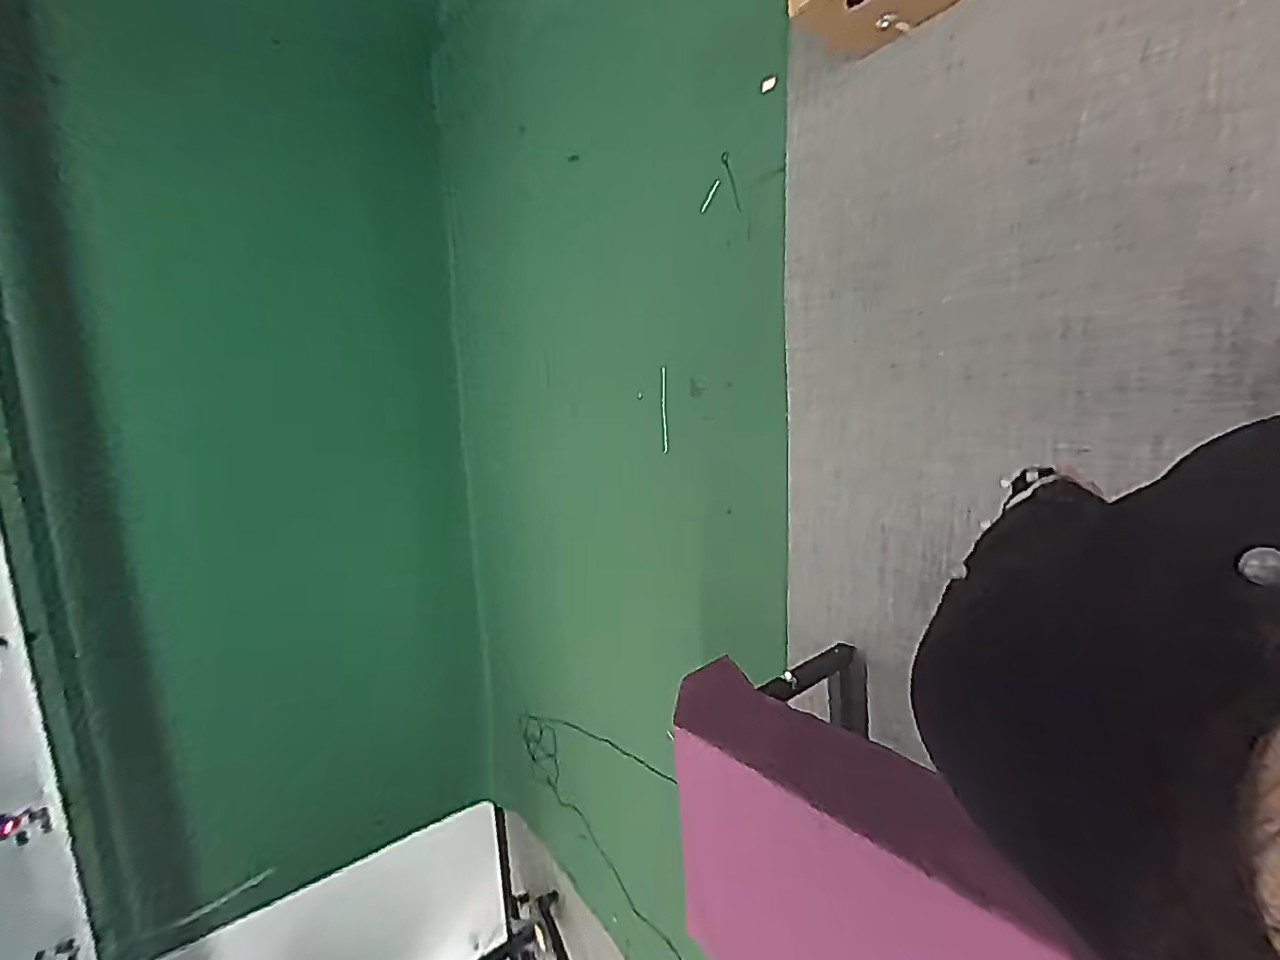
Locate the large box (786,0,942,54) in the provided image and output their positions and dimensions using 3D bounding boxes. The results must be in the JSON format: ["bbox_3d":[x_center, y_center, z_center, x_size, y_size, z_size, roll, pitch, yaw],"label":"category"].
[{"bbox_3d":[0.562,-1.356,1.284,0.320,0.320,0.408,6,101,52],"label":"large box"}]
